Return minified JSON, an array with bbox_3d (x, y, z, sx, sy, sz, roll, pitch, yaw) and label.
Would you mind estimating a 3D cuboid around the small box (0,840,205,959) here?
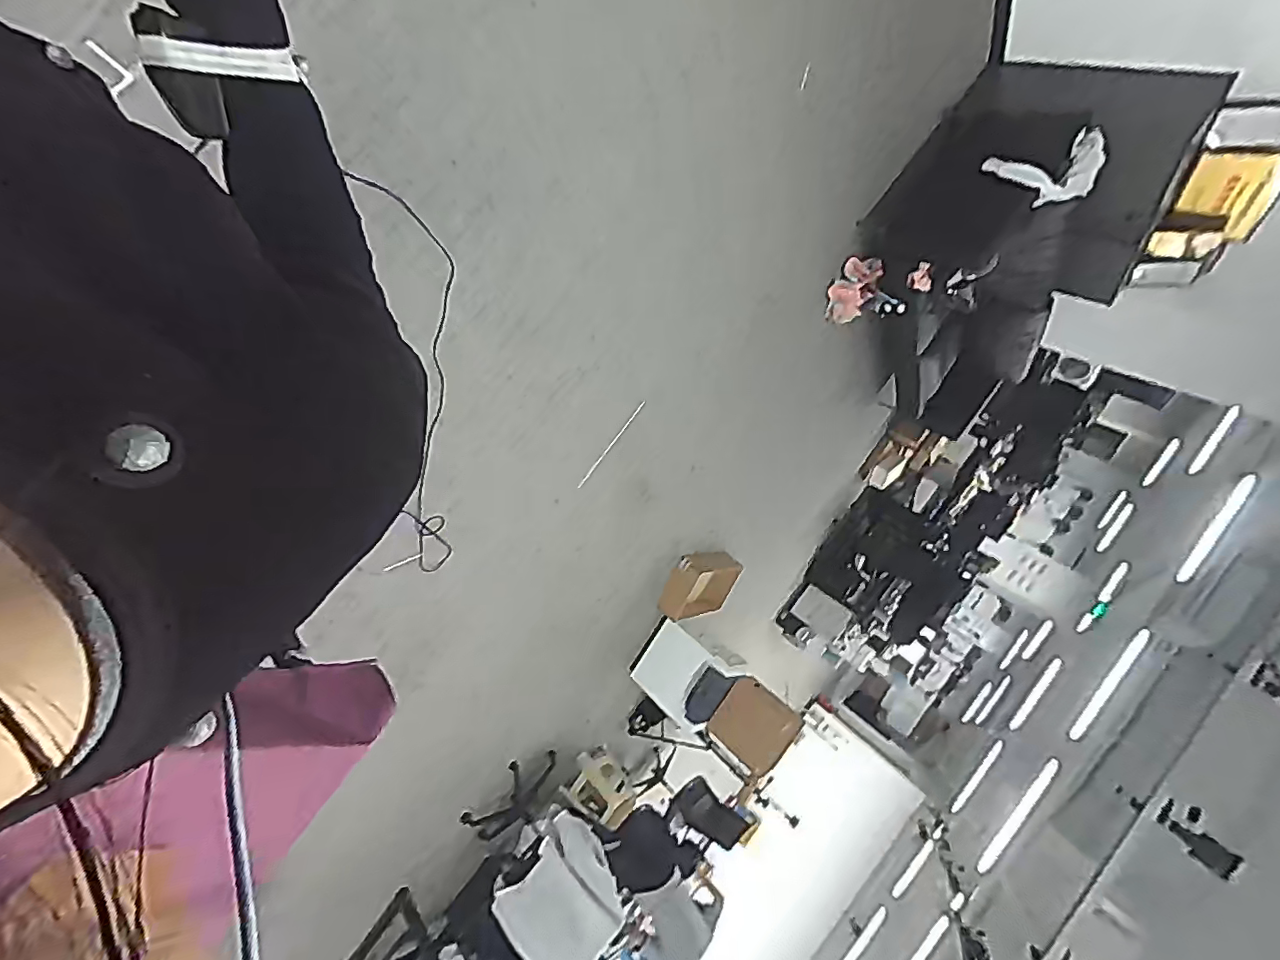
[{"bbox_3d":[-0.826,0.684,0.824,0.168,0.176,0.179,-46,145,-12],"label":"small box"}]
